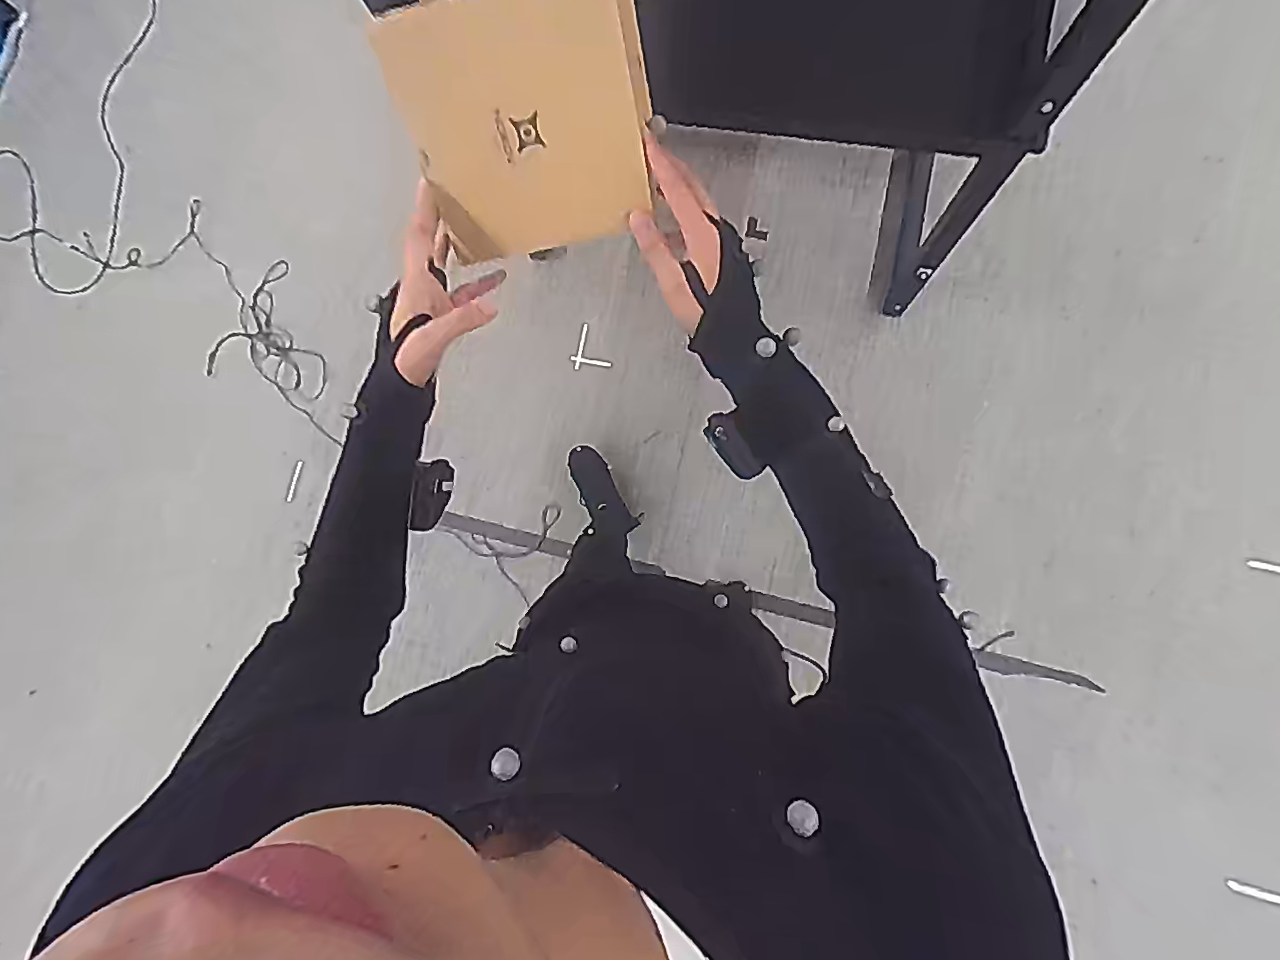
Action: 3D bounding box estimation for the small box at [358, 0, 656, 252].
[{"bbox_3d":[-0.084,-0.316,0.455,0.179,0.168,0.176,-6,39,12],"label":"small box"}]
